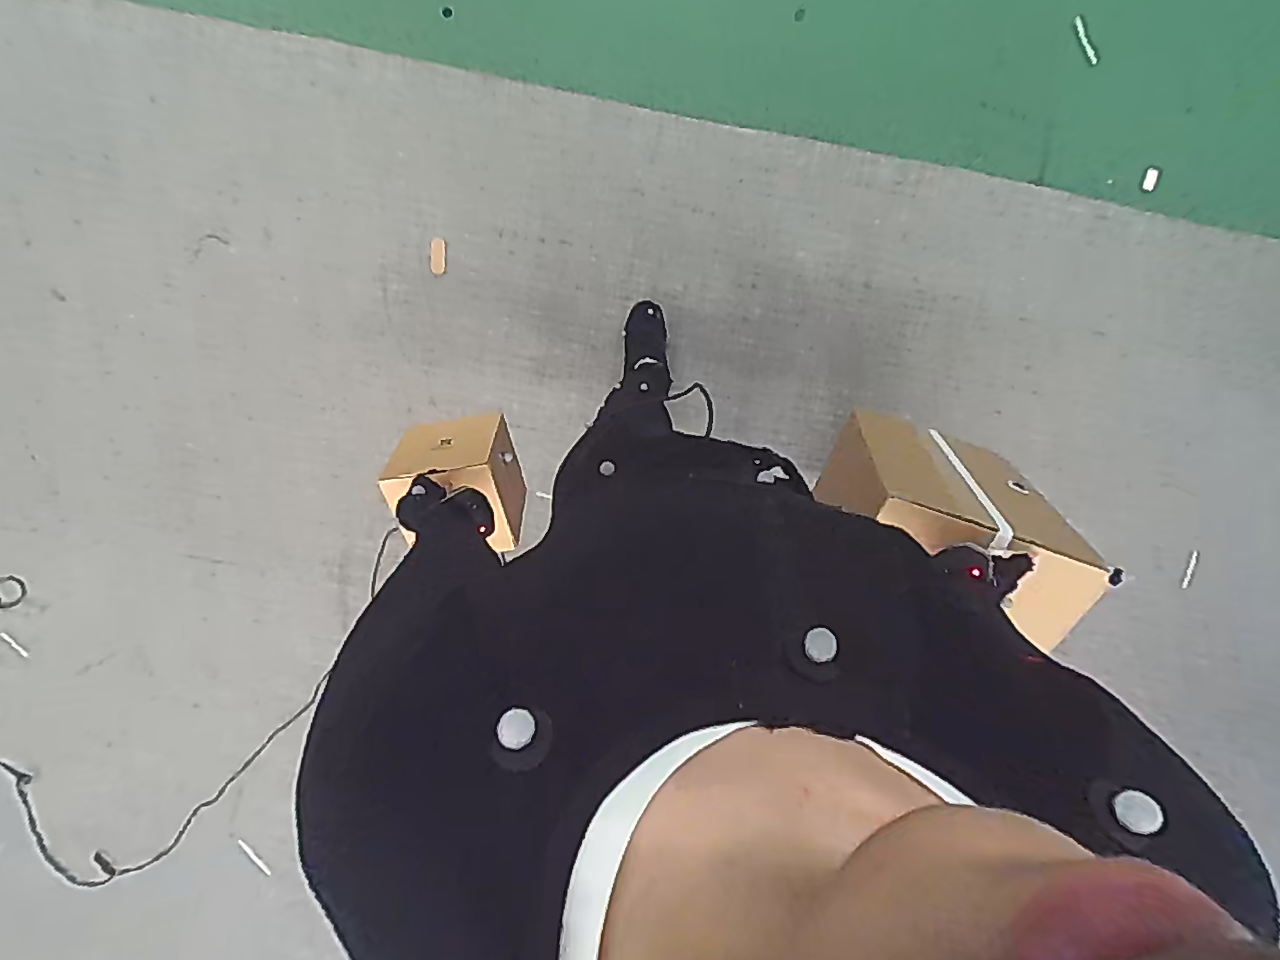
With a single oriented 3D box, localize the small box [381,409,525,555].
[{"bbox_3d":[-0.297,0.001,0.904,0.168,0.179,0.176,-9,123,0],"label":"small box"}]
